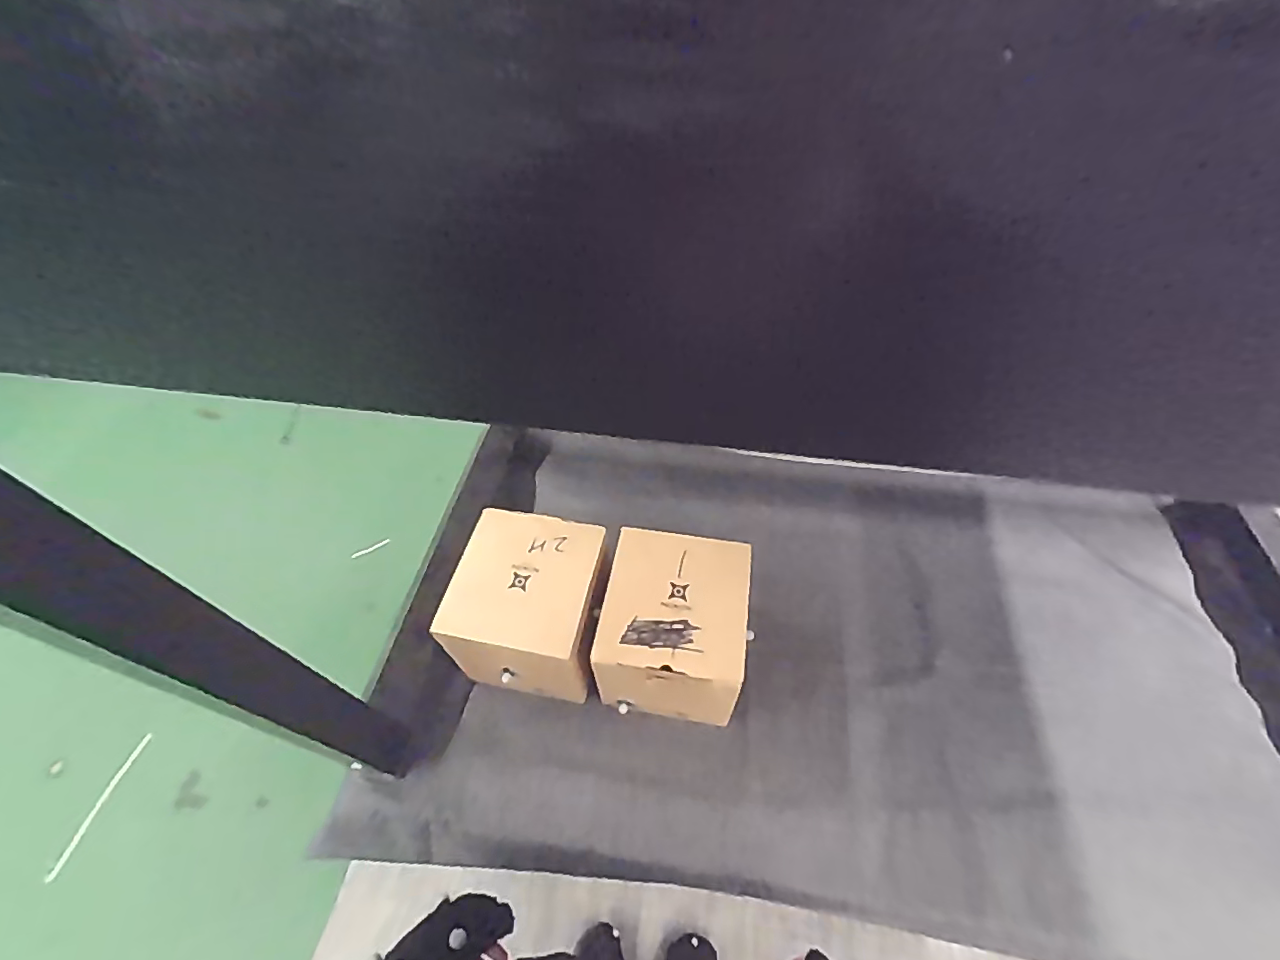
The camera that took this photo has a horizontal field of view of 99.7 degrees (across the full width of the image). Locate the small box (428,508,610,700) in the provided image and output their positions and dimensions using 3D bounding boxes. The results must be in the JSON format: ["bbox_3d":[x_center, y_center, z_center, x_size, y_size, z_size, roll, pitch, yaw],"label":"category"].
[{"bbox_3d":[-0.138,0.164,0.699,0.168,0.176,0.179,9,53,8],"label":"small box"}]
